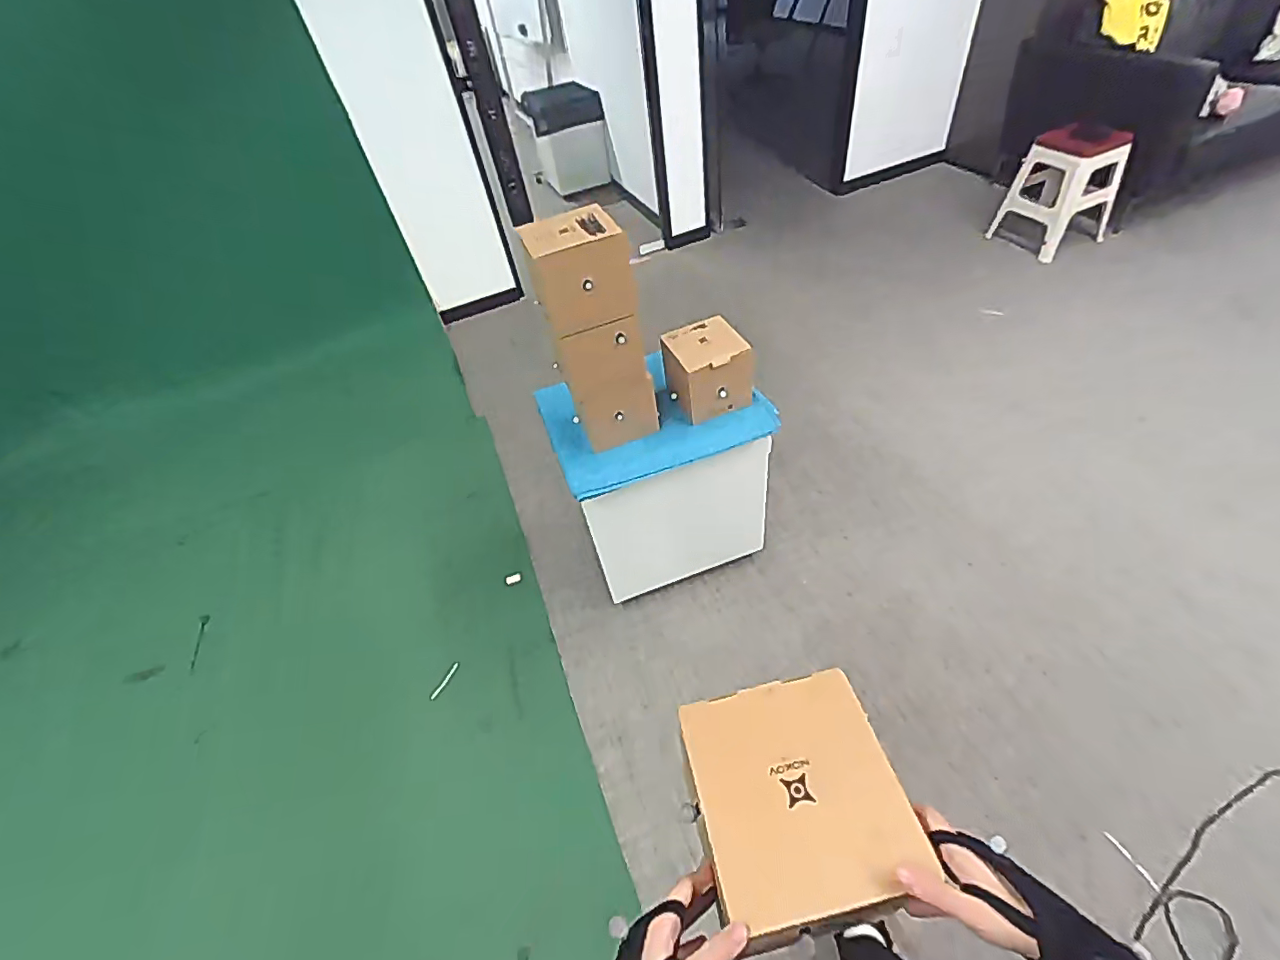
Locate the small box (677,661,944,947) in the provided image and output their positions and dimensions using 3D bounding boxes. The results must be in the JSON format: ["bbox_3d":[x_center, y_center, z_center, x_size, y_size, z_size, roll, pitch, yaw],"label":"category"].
[{"bbox_3d":[0.138,0.303,0.503,0.168,0.176,0.179,-12,43,-5],"label":"small box"}]

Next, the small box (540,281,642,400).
[{"bbox_3d":[-0.101,-0.306,1.190,0.179,0.176,0.168,-20,47,-9],"label":"small box"}]

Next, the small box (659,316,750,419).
[{"bbox_3d":[0.160,-0.270,1.335,0.168,0.176,0.179,-20,48,-8],"label":"small box"}]

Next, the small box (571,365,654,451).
[{"bbox_3d":[-0.072,-0.199,1.312,0.179,0.176,0.168,-21,47,-9],"label":"small box"}]
